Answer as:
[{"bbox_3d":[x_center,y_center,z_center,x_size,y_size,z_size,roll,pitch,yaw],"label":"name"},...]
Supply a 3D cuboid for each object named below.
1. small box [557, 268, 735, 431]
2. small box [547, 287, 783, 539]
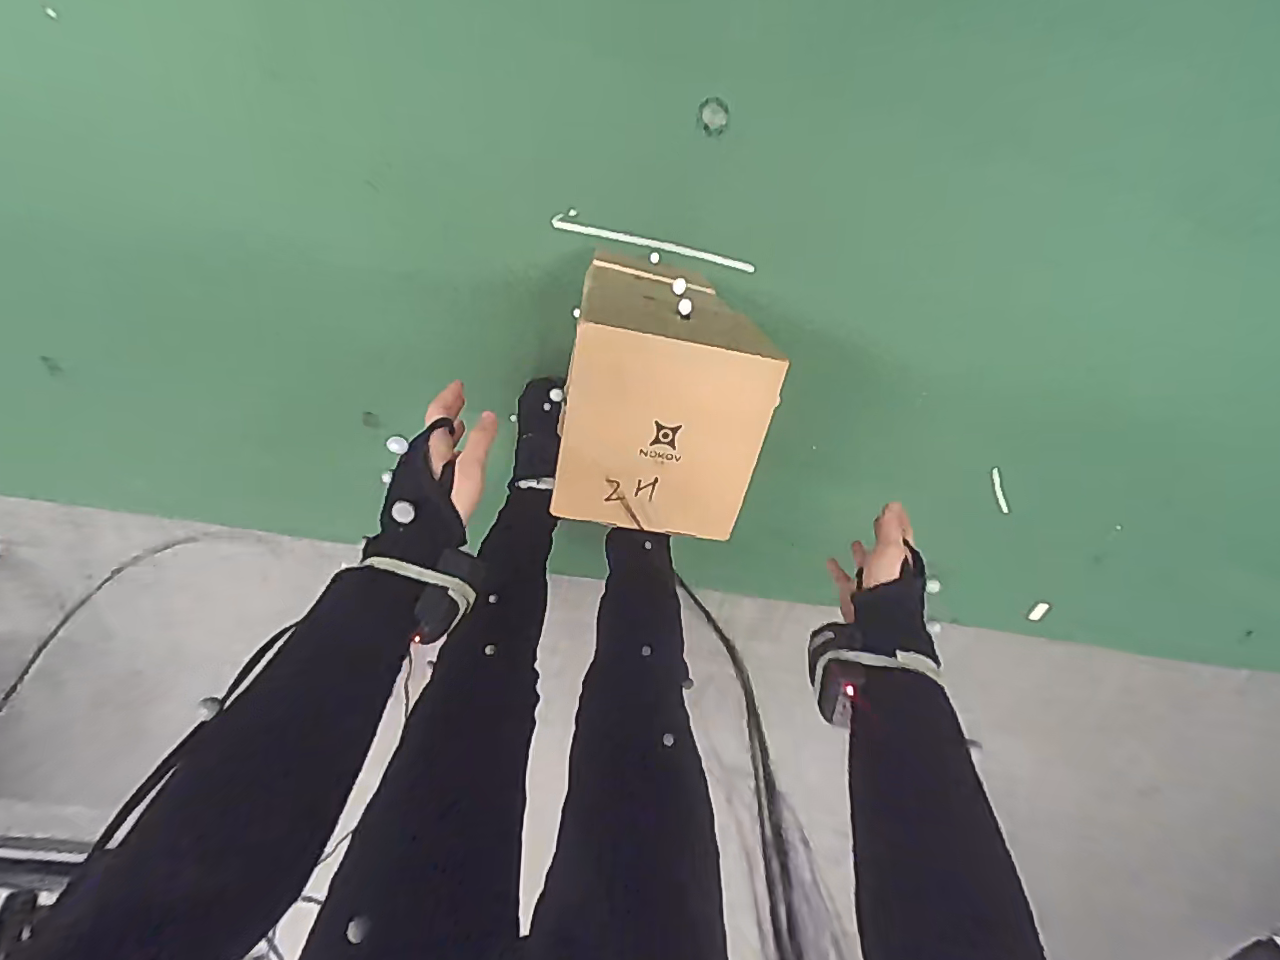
[{"bbox_3d":[-0.001,-0.147,0.660,0.168,0.176,0.179,11,117,-8],"label":"small box"},{"bbox_3d":[0.011,-0.072,0.514,0.168,0.176,0.179,10,118,-7],"label":"small box"}]
